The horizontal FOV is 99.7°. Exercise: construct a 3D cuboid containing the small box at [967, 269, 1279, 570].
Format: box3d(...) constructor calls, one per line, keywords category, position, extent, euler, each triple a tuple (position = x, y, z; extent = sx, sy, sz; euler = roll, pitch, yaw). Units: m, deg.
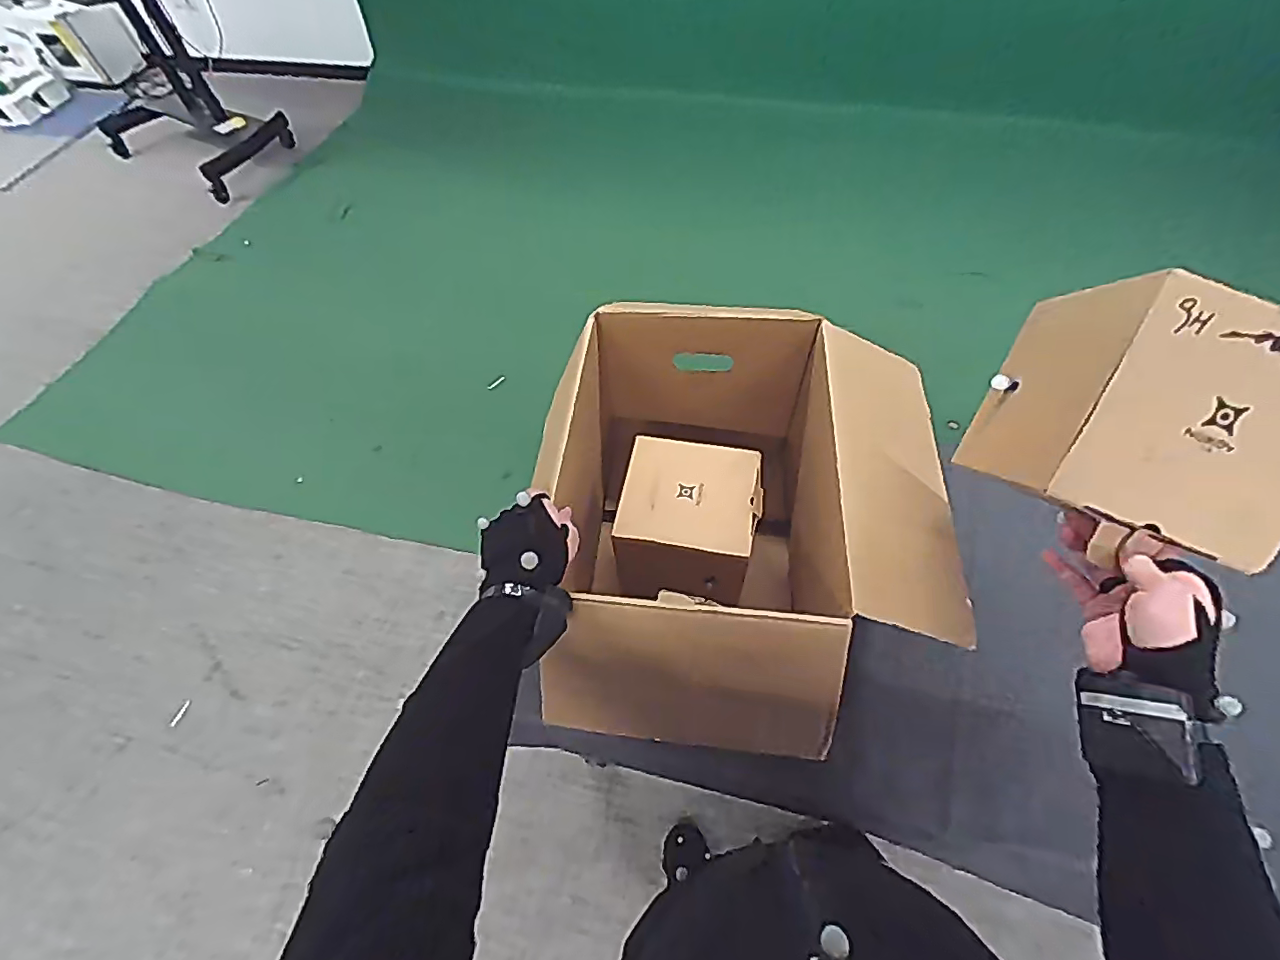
box3d(category="small box", position=(0.423, -0.054, 0.469), extent=(0.168, 0.176, 0.179), euler=(22, 103, 4))
